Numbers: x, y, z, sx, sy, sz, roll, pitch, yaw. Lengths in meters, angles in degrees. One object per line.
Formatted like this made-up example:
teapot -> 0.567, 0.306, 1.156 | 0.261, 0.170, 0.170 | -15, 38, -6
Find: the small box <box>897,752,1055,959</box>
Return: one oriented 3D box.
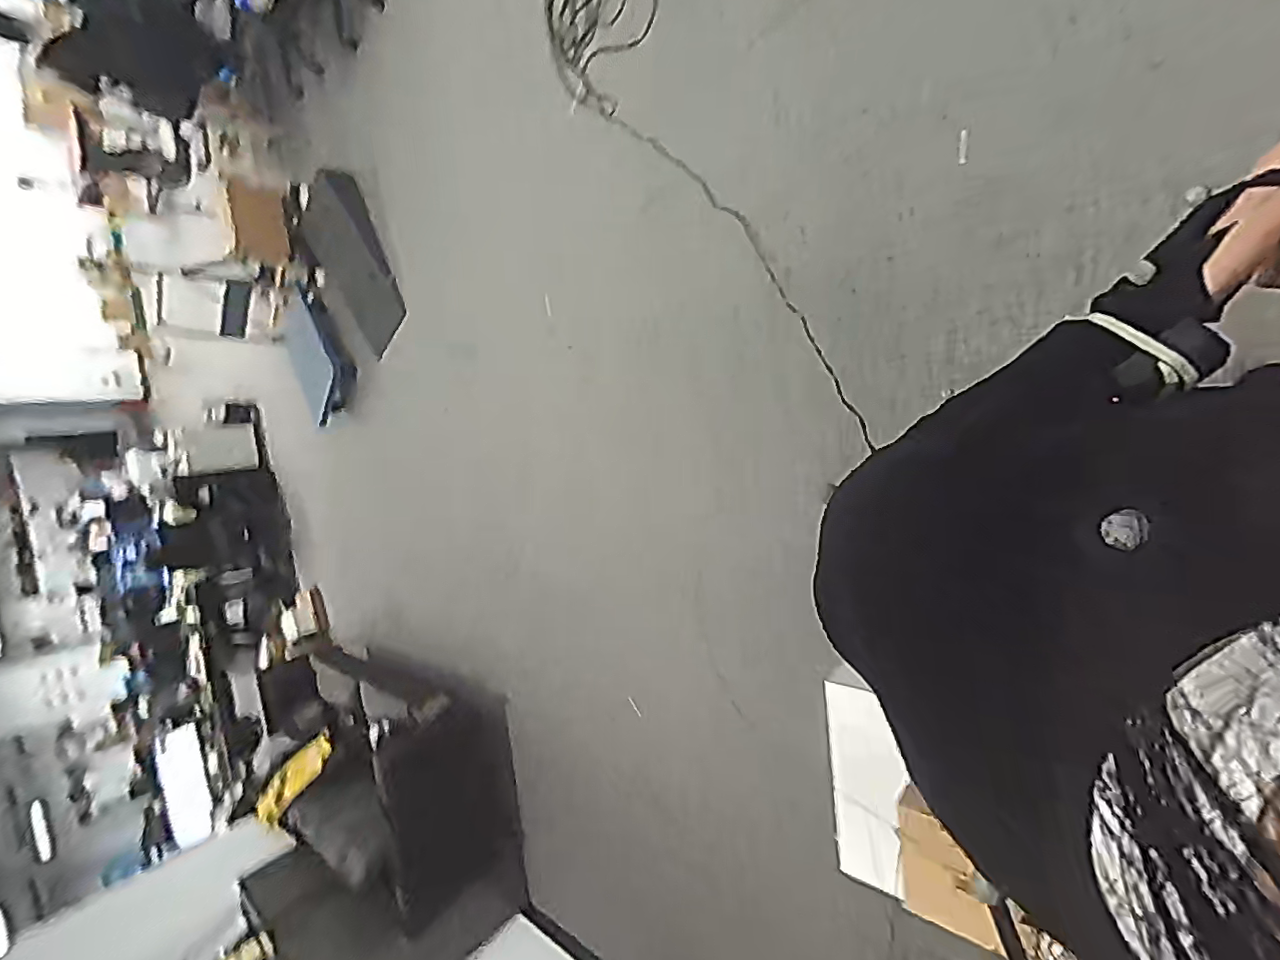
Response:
small box -> 0.495, 0.543, 0.792 | 0.168, 0.176, 0.179 | -2, 97, 42
